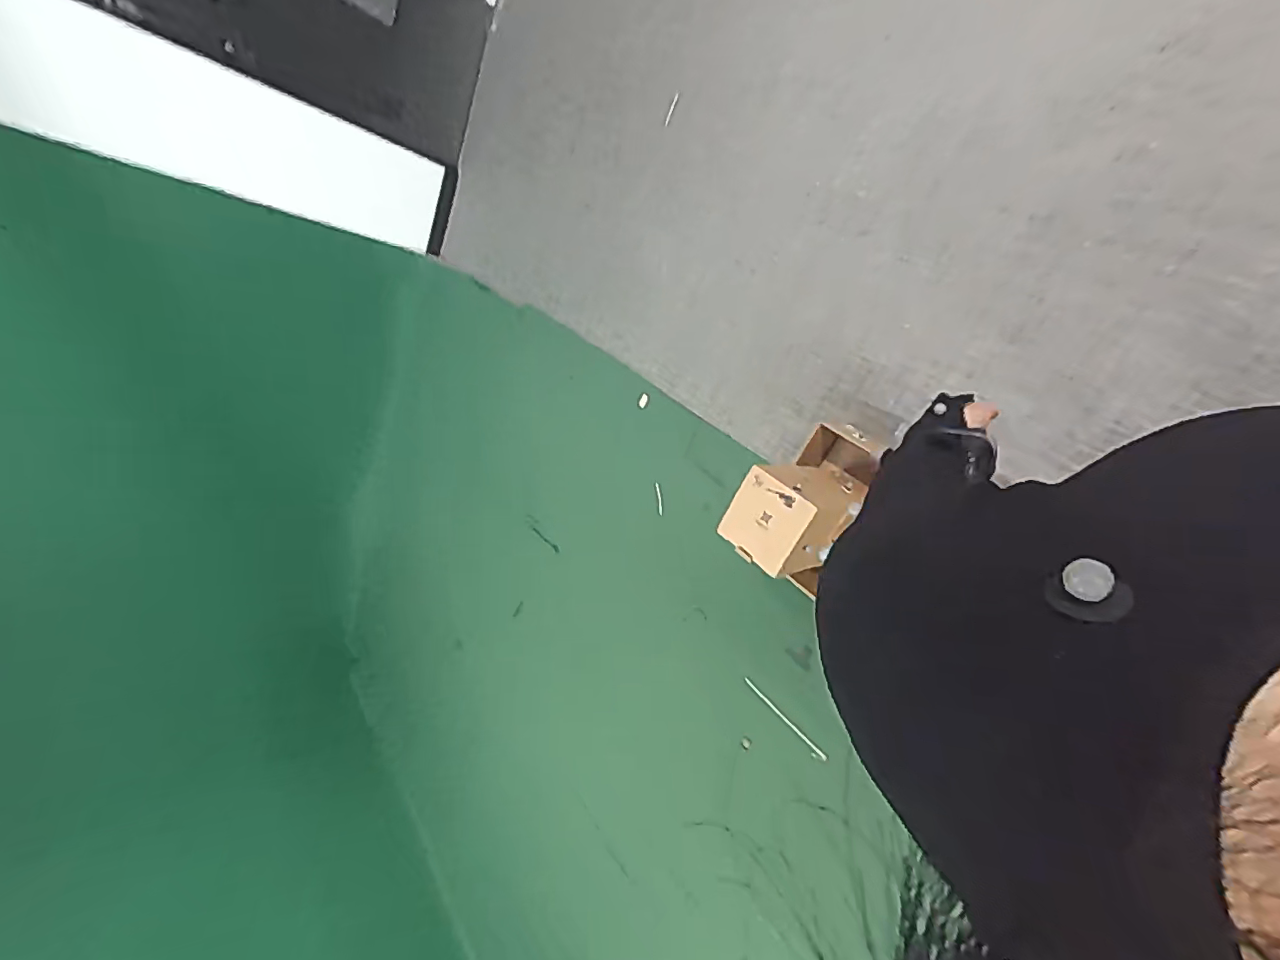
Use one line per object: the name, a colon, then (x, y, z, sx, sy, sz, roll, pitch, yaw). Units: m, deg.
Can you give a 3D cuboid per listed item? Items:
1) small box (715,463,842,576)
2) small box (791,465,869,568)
small box: (0.300, 0.080, 1.155, 0.168, 0.176, 0.179, 40, 115, 34)
small box: (0.409, 0.084, 1.278, 0.168, 0.176, 0.179, 43, 115, 33)
